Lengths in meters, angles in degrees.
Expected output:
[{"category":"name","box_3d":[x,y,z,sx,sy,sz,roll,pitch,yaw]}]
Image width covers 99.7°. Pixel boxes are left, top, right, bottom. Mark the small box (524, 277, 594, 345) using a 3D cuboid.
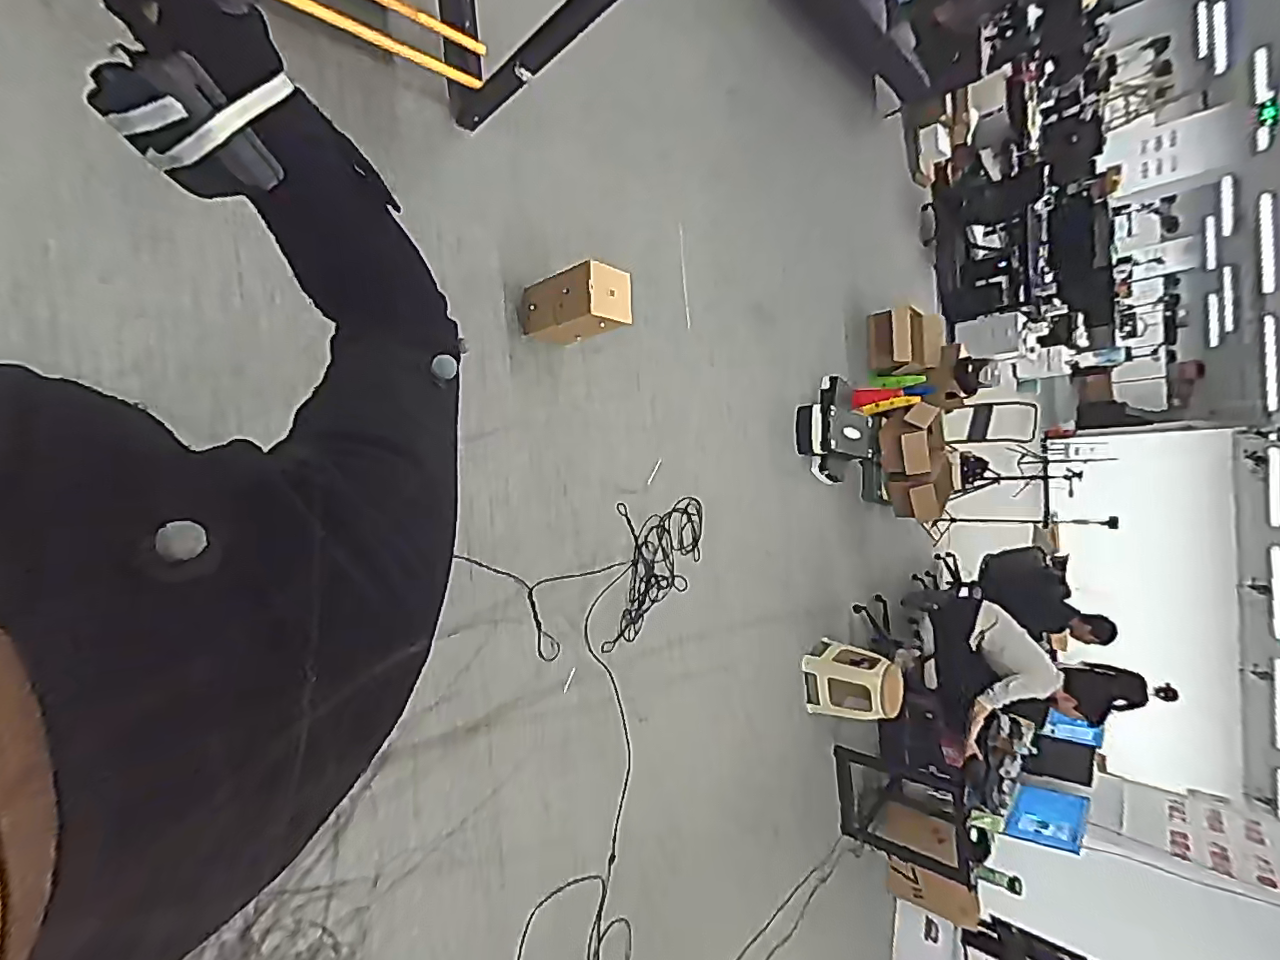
[{"category":"small box","box_3d":[-0.274,-0.566,1.839,0.179,0.176,0.168,1,87,-46]}]
